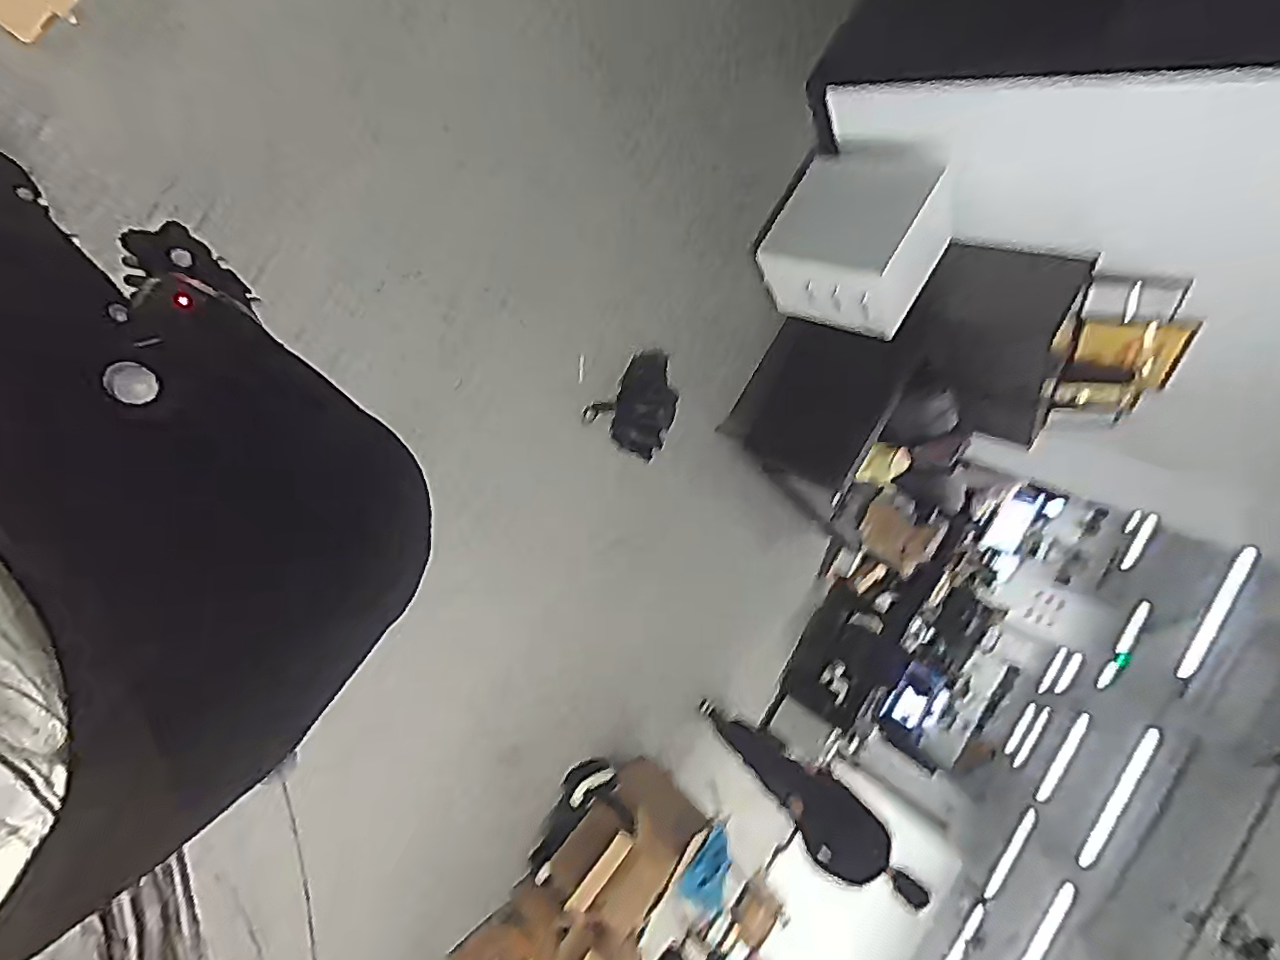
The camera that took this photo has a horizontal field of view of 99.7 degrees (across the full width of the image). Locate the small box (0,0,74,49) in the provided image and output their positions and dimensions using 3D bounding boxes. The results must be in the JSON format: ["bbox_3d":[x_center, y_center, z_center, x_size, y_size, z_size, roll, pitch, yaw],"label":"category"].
[{"bbox_3d":[-0.899,-0.731,0.734,0.168,0.176,0.179,-57,144,-6],"label":"small box"}]
